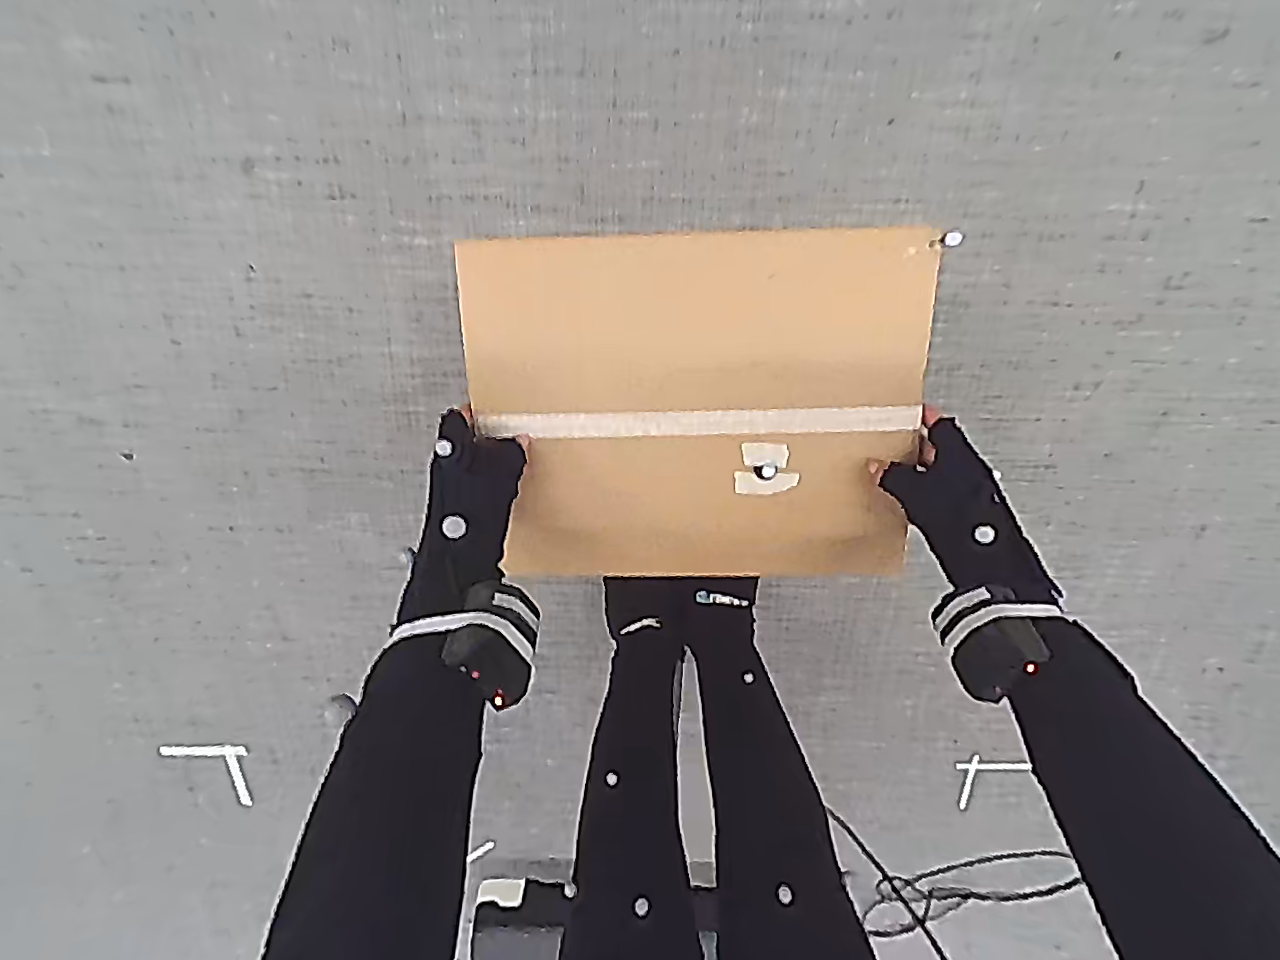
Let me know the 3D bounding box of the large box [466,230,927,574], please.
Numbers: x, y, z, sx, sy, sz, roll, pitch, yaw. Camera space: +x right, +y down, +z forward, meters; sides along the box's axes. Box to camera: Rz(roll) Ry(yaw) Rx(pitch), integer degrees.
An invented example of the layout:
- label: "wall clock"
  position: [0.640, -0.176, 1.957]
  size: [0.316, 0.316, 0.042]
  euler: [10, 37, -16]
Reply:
- label: "large box"
  position: [0.054, -0.099, 0.647]
  size: [0.408, 0.320, 0.320]
  euler: [-2, 108, 2]
